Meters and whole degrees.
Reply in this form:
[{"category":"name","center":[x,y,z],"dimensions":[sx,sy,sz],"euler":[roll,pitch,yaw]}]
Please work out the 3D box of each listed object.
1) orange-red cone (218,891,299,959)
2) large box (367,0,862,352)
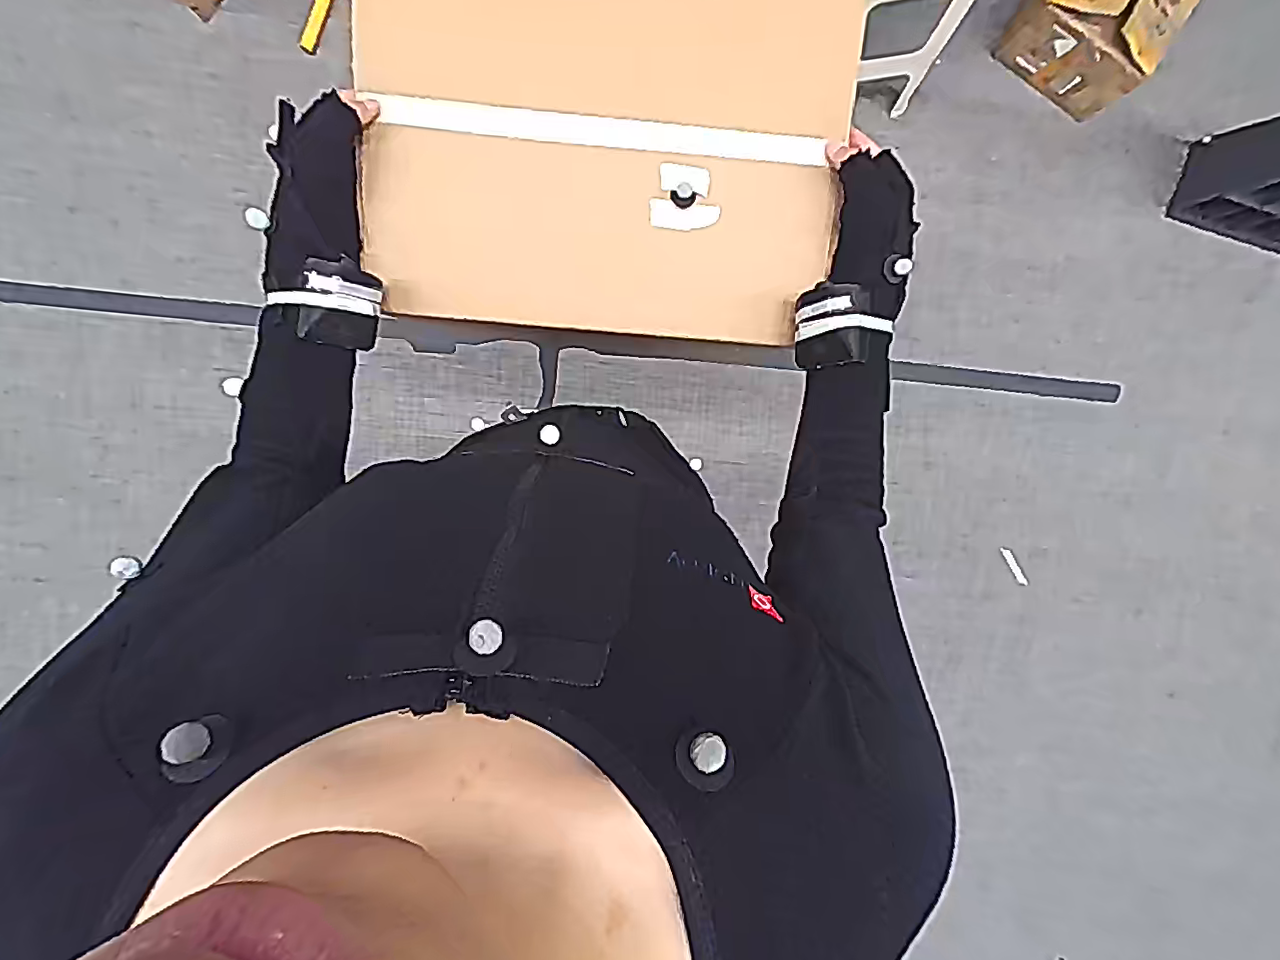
[{"category":"orange-red cone","center":[-1.102,1.330,1.427],"dimensions":[0.198,0.360,0.199],"euler":[3,99,-3]},{"category":"large box","center":[-0.033,-0.317,0.598],"dimensions":[0.408,0.320,0.320],"euler":[4,101,-4]}]
